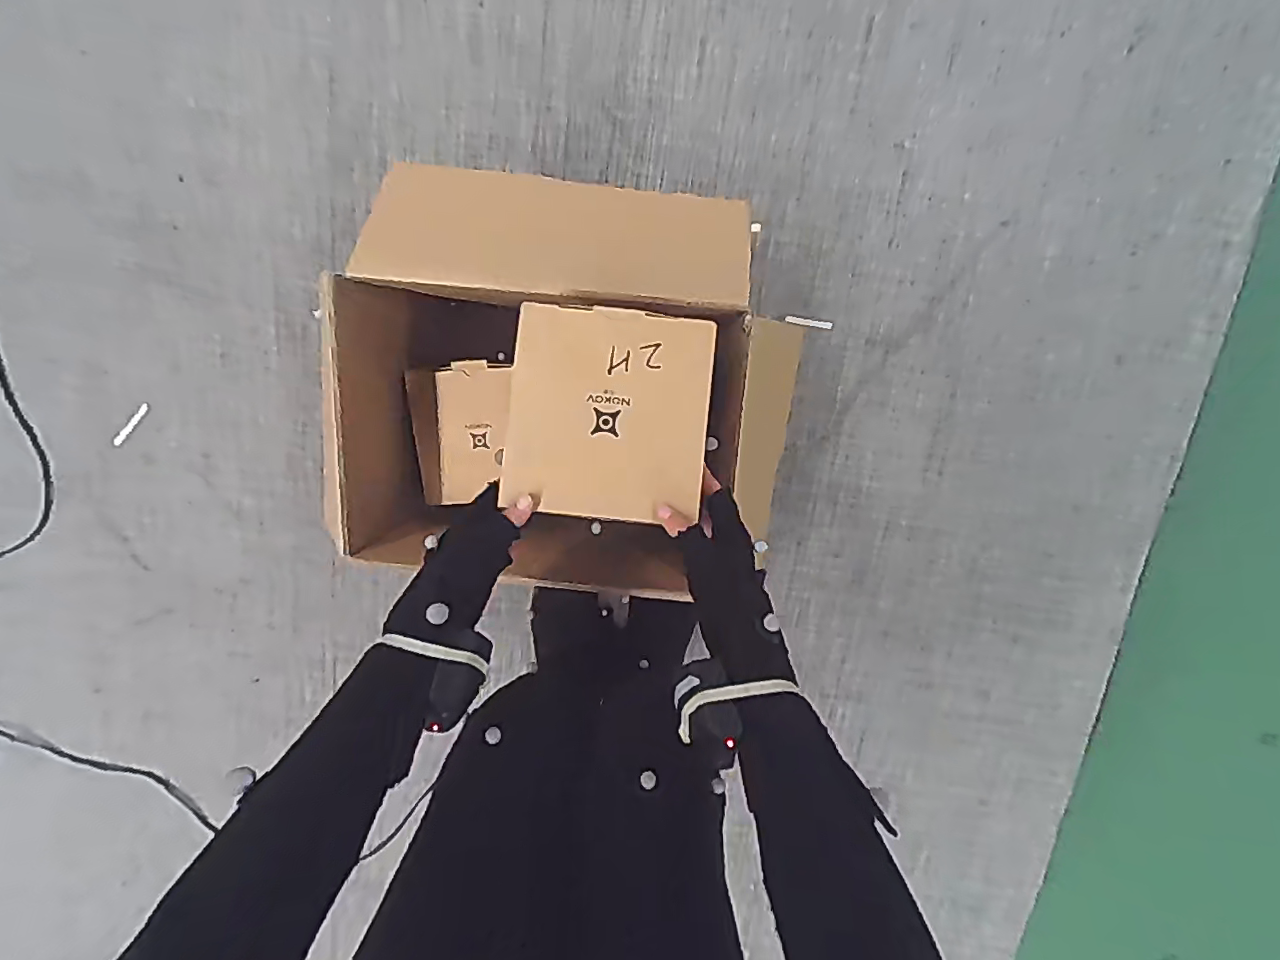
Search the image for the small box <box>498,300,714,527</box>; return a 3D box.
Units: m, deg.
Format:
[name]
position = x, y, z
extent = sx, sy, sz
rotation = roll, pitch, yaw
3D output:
[small box]
position = -0.030, -0.053, 0.531
extent = 0.168, 0.176, 0.179
rotation = 6, 87, -2
